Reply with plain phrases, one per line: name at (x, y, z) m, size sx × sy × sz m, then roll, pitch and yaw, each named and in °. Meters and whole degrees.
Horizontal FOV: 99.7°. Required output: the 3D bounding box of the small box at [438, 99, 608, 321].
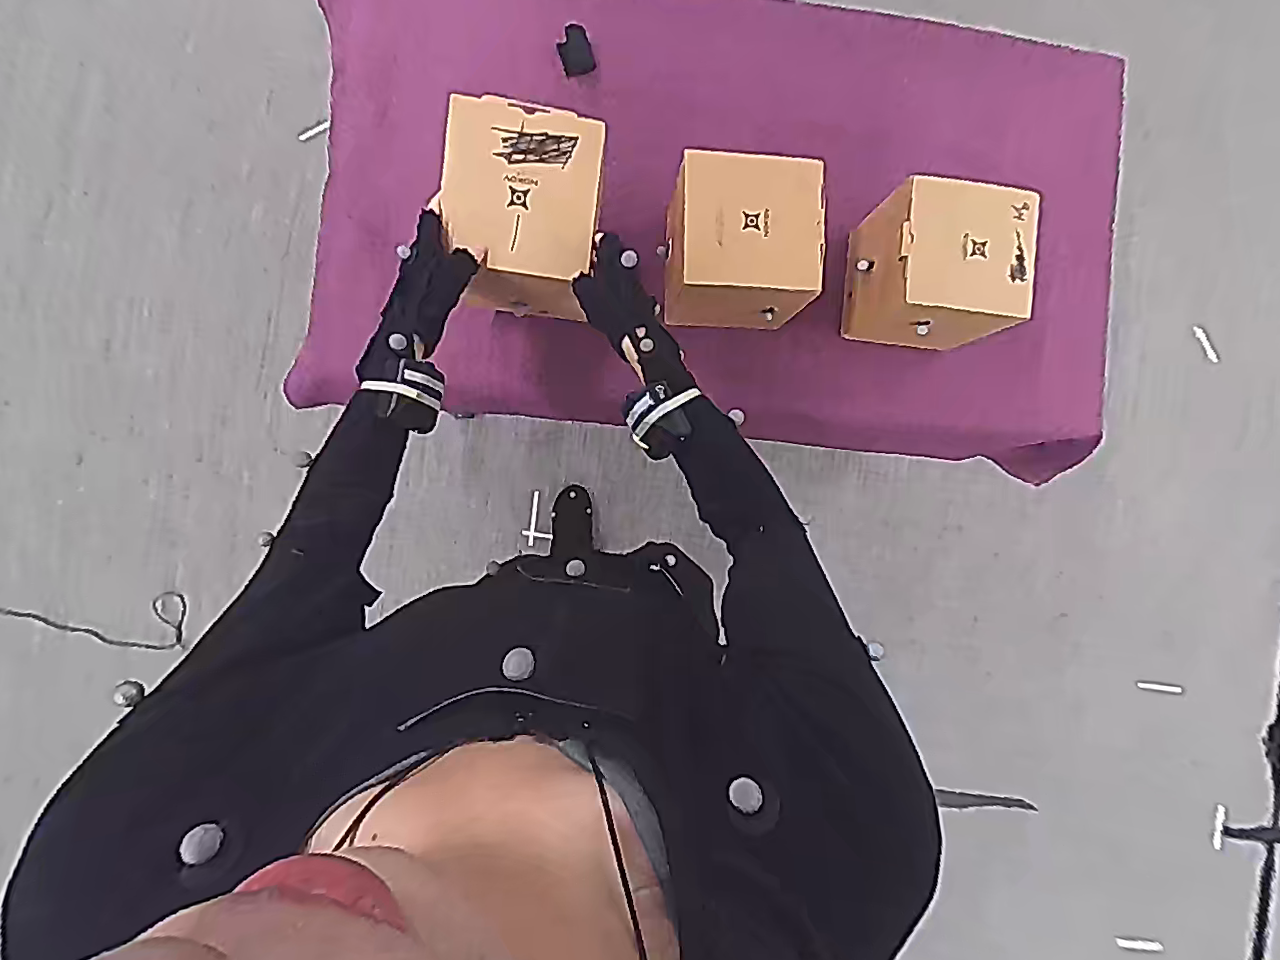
small box at (-0.134, -0.312, 0.663) m, size 0.168 × 0.176 × 0.179 m, roll 6°, pitch 91°, yaw -5°

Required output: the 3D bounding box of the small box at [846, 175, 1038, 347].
small box at (0.411, -0.295, 0.763) m, size 0.179 × 0.176 × 0.168 m, roll 5°, pitch 89°, yaw -5°

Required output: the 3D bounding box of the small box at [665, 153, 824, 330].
small box at (0.133, -0.311, 0.737) m, size 0.179 × 0.176 × 0.168 m, roll 0°, pitch 88°, yaw -5°
